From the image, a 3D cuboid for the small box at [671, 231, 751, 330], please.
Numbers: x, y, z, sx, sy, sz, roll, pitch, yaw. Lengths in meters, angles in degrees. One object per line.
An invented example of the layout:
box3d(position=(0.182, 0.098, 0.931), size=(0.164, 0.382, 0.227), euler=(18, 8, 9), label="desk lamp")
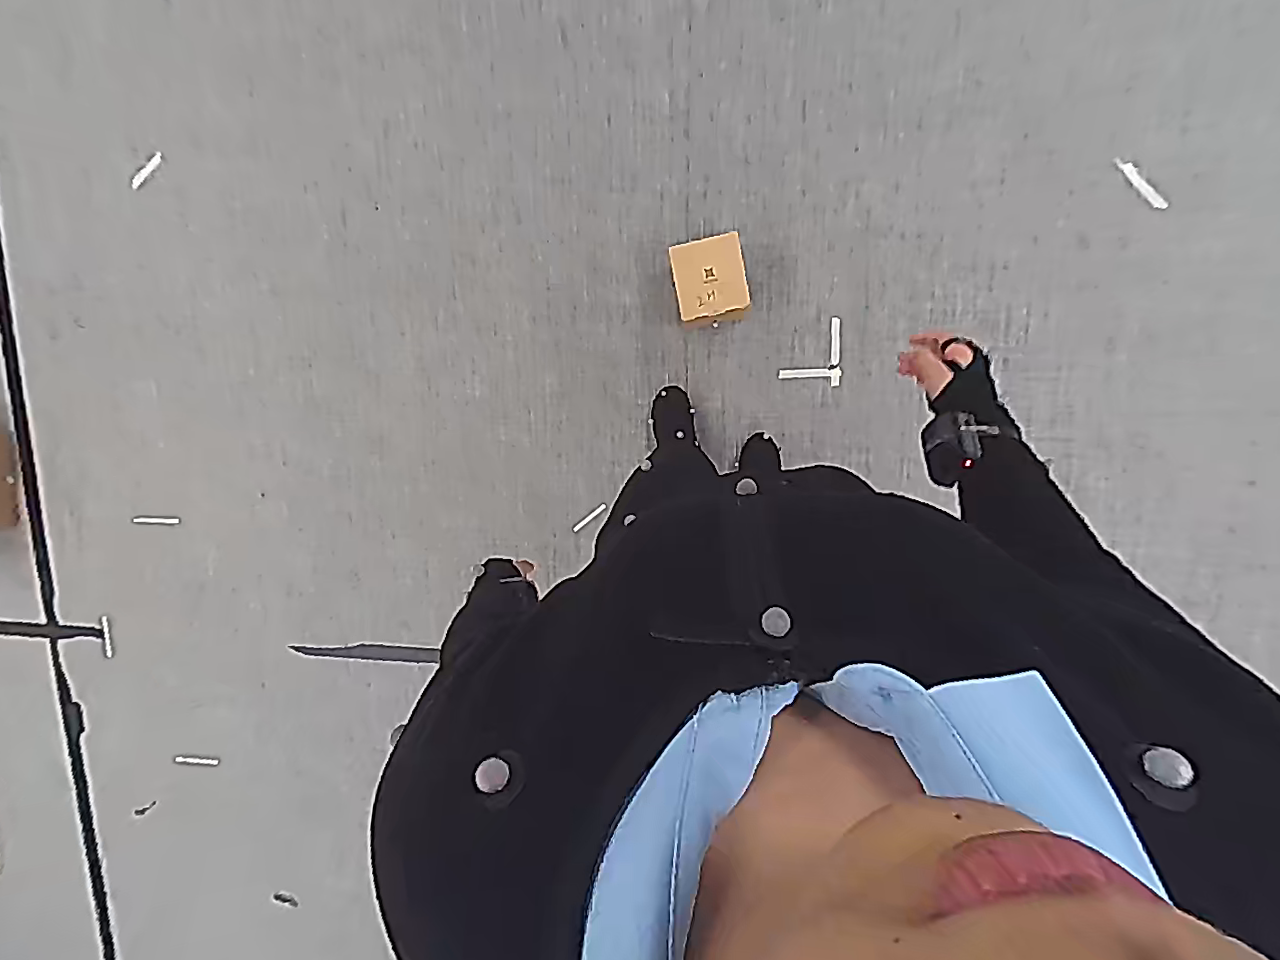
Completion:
box3d(position=(0.172, -0.484, 1.337), size=(0.168, 0.176, 0.179), euler=(-11, 97, 7), label="small box")
